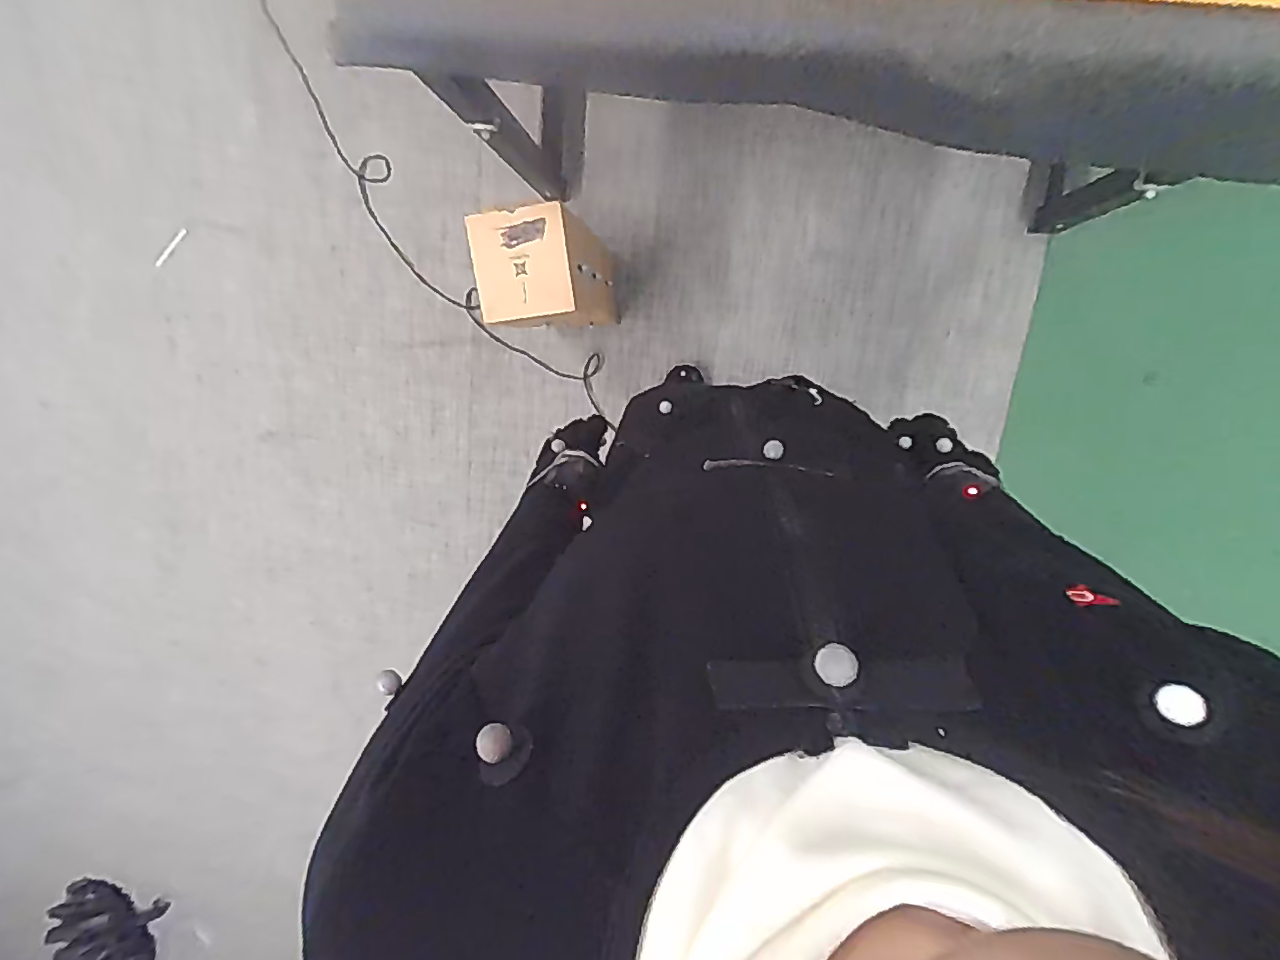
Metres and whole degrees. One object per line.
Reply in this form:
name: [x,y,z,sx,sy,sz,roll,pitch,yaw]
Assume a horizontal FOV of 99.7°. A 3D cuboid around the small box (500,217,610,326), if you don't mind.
small box: [-0.170,-0.426,1.138,0.168,0.176,0.179,-8,100,11]
